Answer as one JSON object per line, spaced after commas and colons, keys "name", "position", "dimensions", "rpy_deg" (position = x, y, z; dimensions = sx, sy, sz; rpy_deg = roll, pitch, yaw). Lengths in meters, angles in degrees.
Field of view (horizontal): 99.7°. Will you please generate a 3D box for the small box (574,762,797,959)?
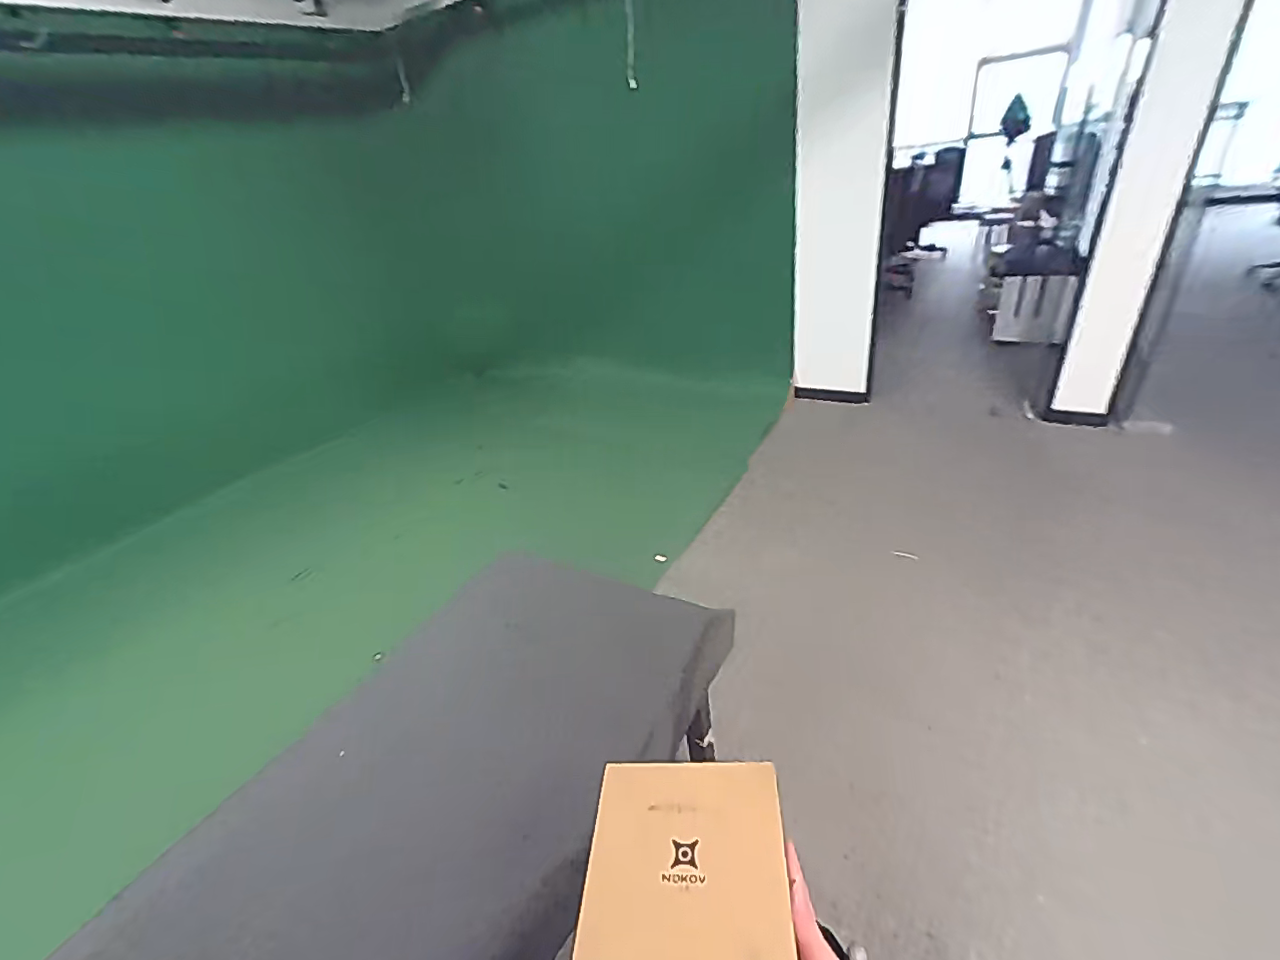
{"name": "small box", "position": [0.051, 0.385, 0.483], "dimensions": [0.168, 0.176, 0.179], "rpy_deg": [-4, 26, 9]}
